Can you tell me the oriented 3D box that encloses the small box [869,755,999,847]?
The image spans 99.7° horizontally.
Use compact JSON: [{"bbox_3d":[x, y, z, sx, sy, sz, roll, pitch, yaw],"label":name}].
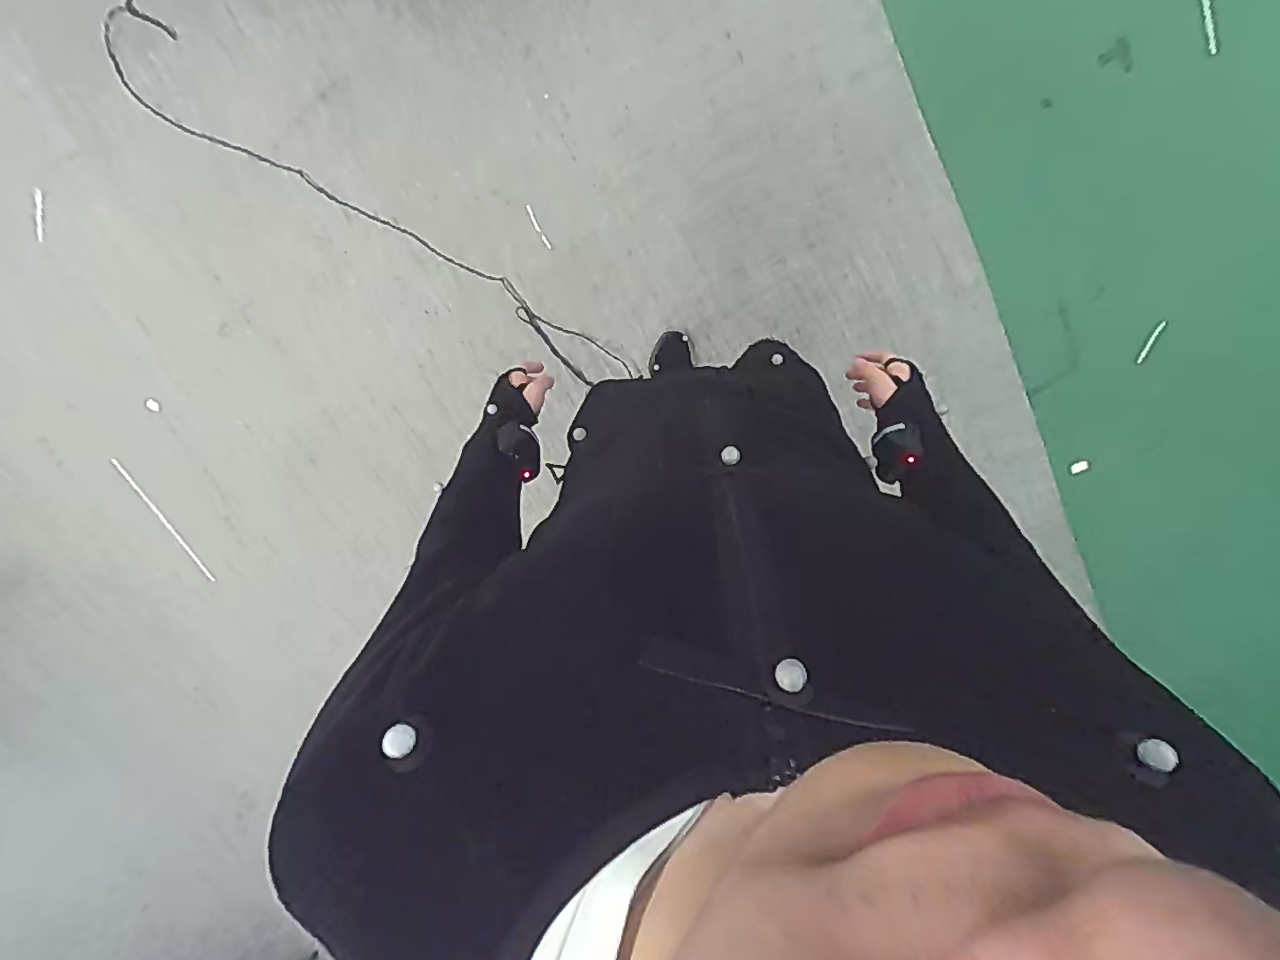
[{"bbox_3d":[0.611,0.709,1.125,0.168,0.176,0.179,-32,103,9],"label":"small box"}]
